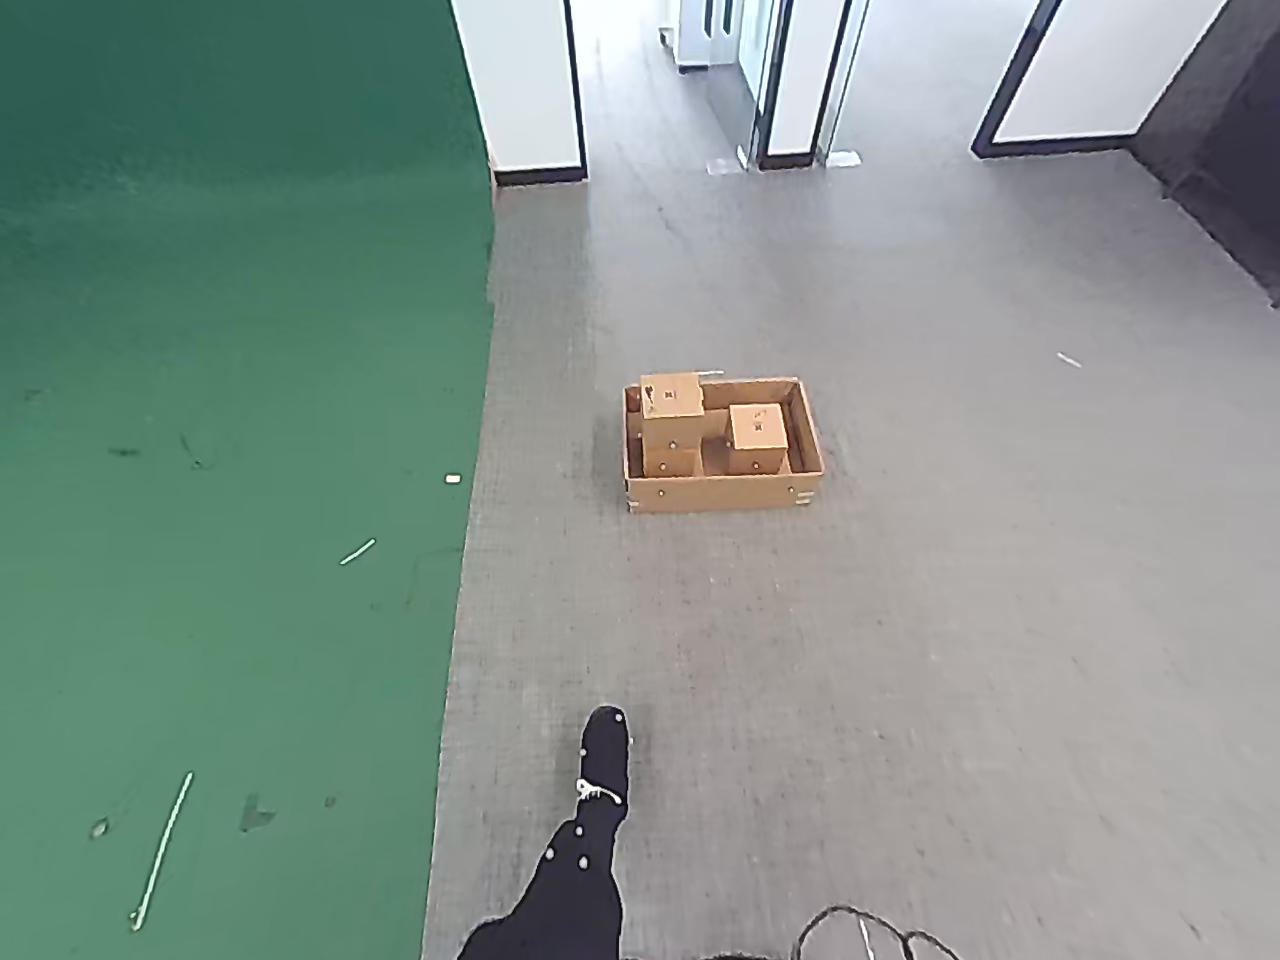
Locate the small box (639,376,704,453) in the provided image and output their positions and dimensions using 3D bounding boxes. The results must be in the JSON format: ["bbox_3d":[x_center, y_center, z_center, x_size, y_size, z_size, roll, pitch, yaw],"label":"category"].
[{"bbox_3d":[0.090,-0.195,1.631,0.179,0.176,0.168,-2,56,-2],"label":"small box"}]

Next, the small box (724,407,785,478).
[{"bbox_3d":[0.370,-0.118,1.774,0.168,0.176,0.179,-1,57,1],"label":"small box"}]

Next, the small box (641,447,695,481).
[{"bbox_3d":[0.088,-0.108,1.771,0.168,0.176,0.179,-2,56,-1],"label":"small box"}]
